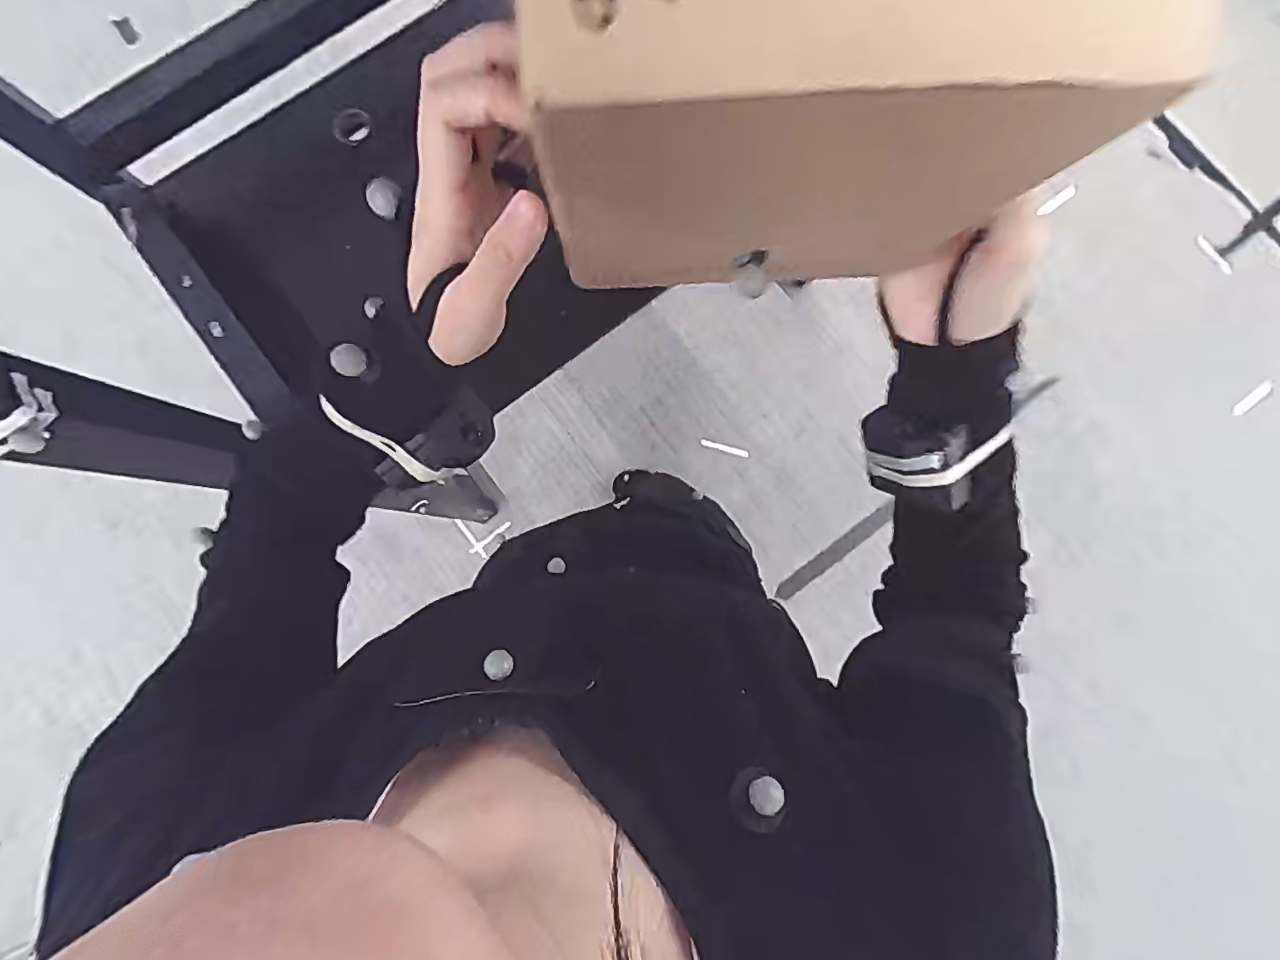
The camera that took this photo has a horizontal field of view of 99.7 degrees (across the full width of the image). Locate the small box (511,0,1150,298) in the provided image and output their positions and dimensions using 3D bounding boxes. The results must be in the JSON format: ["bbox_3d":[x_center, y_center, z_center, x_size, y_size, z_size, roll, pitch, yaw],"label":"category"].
[{"bbox_3d":[0.049,-0.179,0.219,0.179,0.176,0.168,-2,94,-1],"label":"small box"}]
